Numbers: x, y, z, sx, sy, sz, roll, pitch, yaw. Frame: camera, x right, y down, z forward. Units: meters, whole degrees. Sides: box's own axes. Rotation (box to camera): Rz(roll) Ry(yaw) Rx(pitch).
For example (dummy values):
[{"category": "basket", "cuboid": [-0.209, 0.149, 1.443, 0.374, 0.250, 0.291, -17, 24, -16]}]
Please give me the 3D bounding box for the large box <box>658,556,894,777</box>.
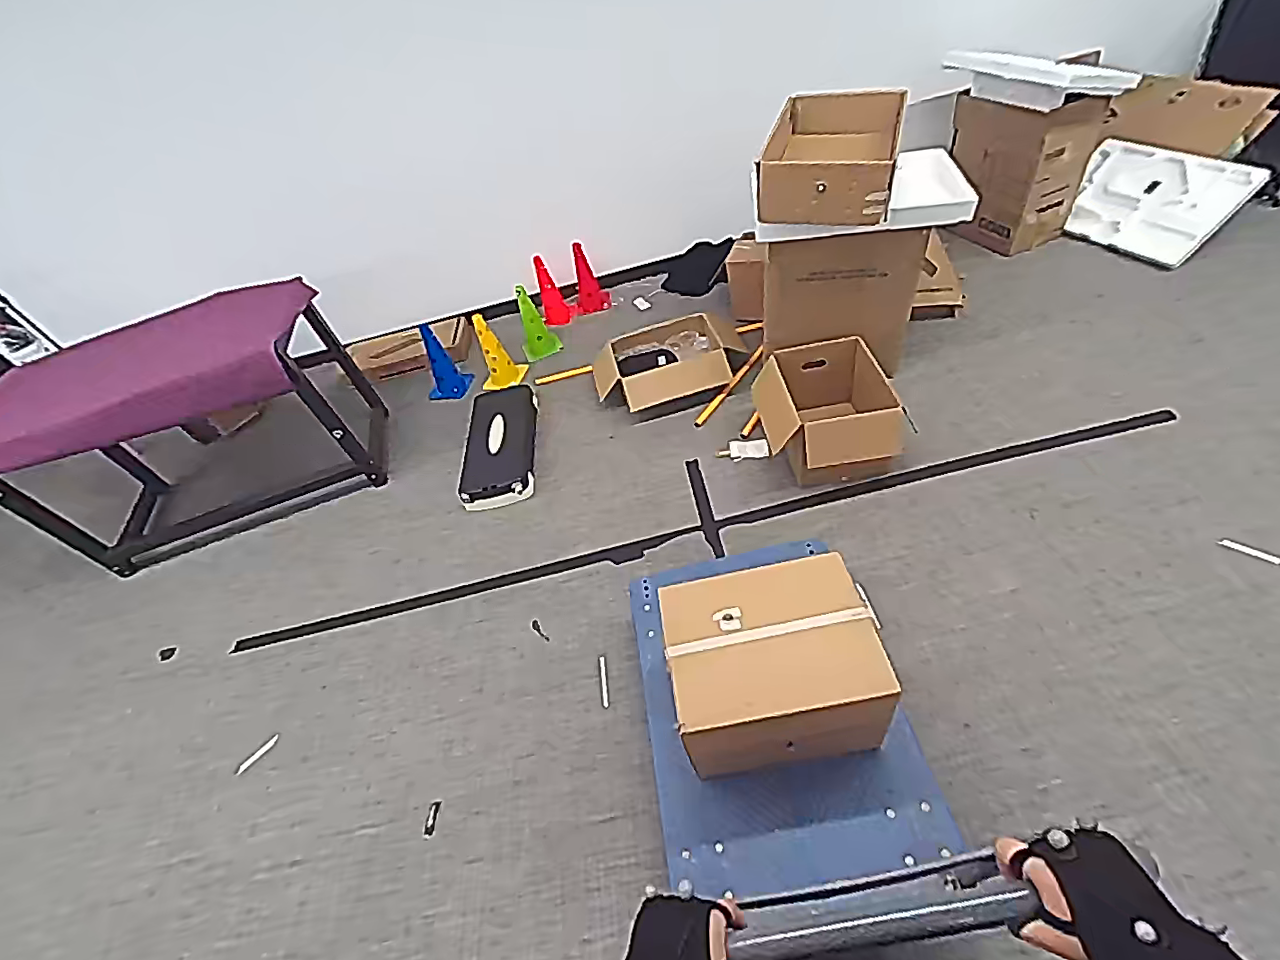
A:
[{"category": "large box", "cuboid": [0.282, 0.417, 1.195, 0.408, 0.320, 0.320, -13, 45, 4]}]
